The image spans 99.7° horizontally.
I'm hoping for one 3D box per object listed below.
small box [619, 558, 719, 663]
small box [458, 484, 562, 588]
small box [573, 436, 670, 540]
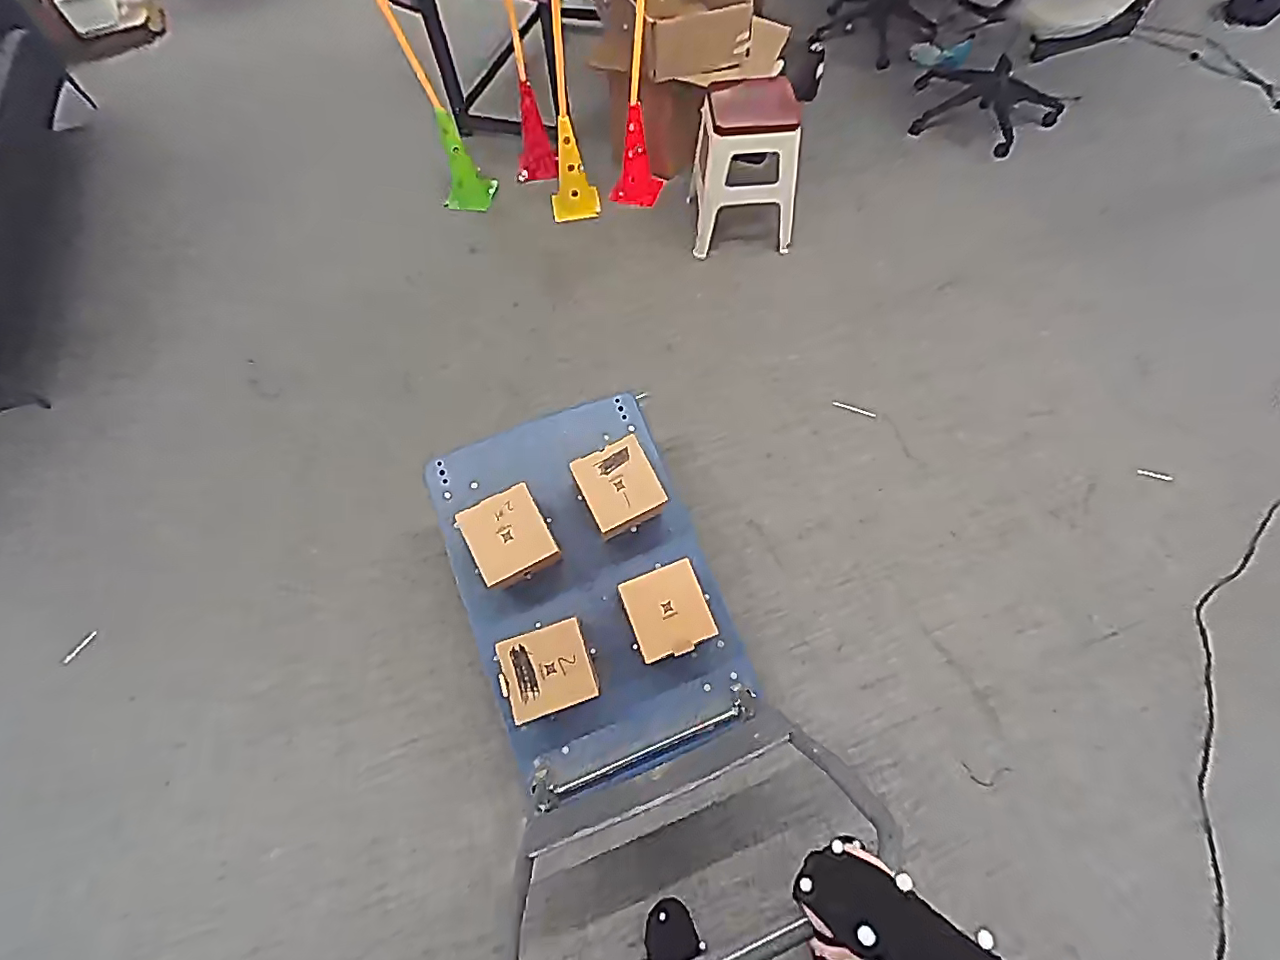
[{"bbox_3d":[0.057,0.293,1.220,0.168,0.176,0.179,-20,79,-8],"label":"small box"},{"bbox_3d":[-0.287,0.133,1.236,0.168,0.176,0.179,-26,79,-10],"label":"small box"},{"bbox_3d":[-0.048,0.025,1.277,0.168,0.176,0.179,-26,80,-8],"label":"small box"}]
